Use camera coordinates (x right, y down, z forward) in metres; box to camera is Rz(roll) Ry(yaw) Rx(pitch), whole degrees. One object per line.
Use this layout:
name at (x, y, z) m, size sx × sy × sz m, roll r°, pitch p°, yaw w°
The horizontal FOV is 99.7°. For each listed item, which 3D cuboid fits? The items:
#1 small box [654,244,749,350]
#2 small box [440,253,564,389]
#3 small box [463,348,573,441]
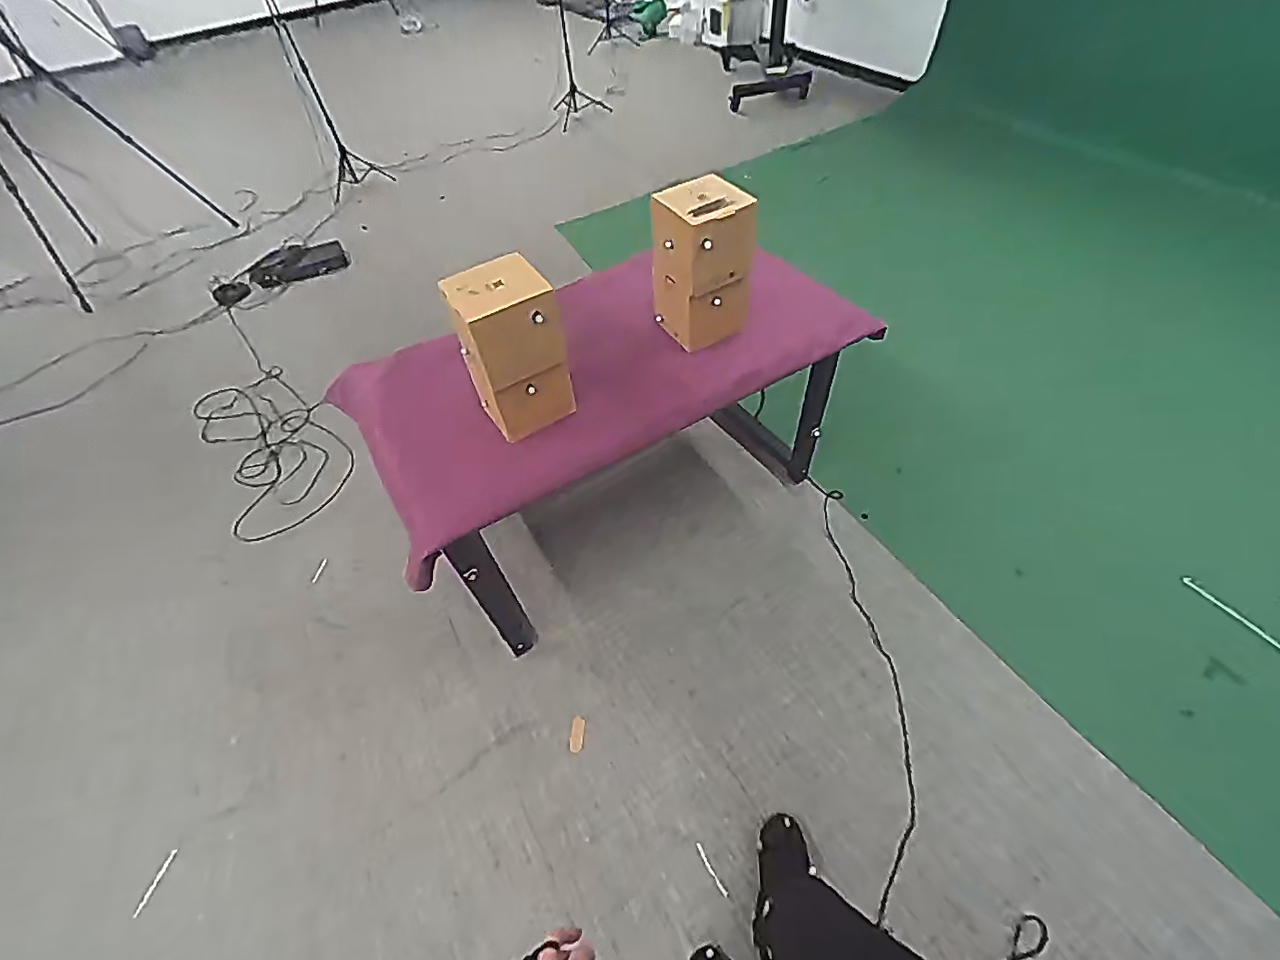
small box at (0.153, -0.456, 1.357) m, size 0.179 × 0.176 × 0.168 m, roll -26°, pitch 55°, yaw -15°
small box at (-0.265, -0.314, 1.077) m, size 0.179 × 0.176 × 0.168 m, roll -29°, pitch 55°, yaw -16°
small box at (-0.264, -0.222, 1.215) m, size 0.179 × 0.176 × 0.168 m, roll -30°, pitch 56°, yaw -17°
